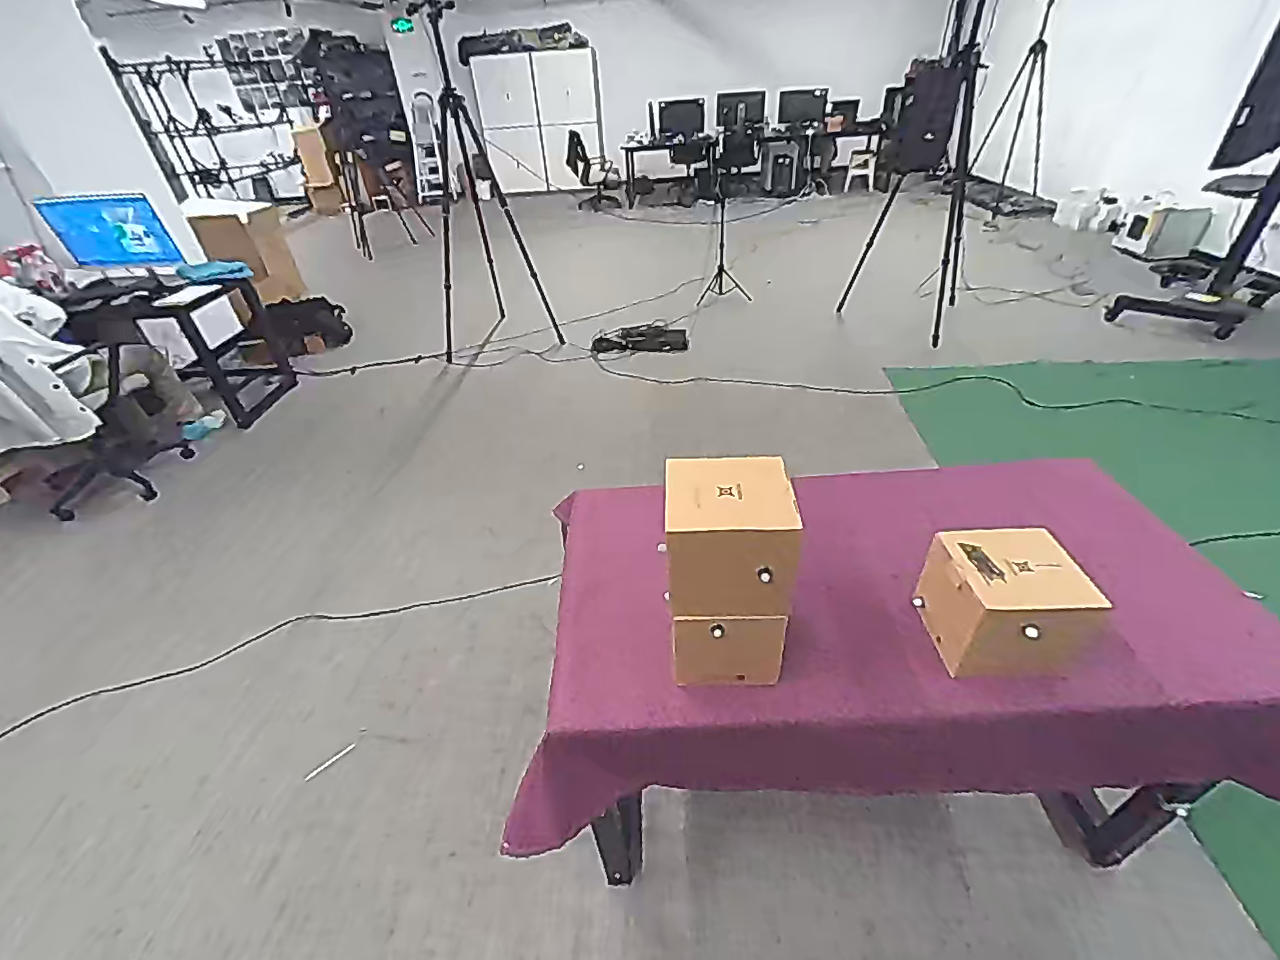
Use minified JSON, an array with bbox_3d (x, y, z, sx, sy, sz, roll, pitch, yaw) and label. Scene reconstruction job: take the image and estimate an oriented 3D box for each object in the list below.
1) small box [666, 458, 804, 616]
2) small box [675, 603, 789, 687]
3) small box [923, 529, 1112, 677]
[{"bbox_3d":[0.130,0.083,0.790,0.179,0.176,0.168,-2,36,5],"label":"small box"},{"bbox_3d":[0.140,0.214,0.888,0.168,0.176,0.179,-2,36,5],"label":"small box"},{"bbox_3d":[0.575,0.197,0.860,0.179,0.176,0.168,-2,37,3],"label":"small box"}]
